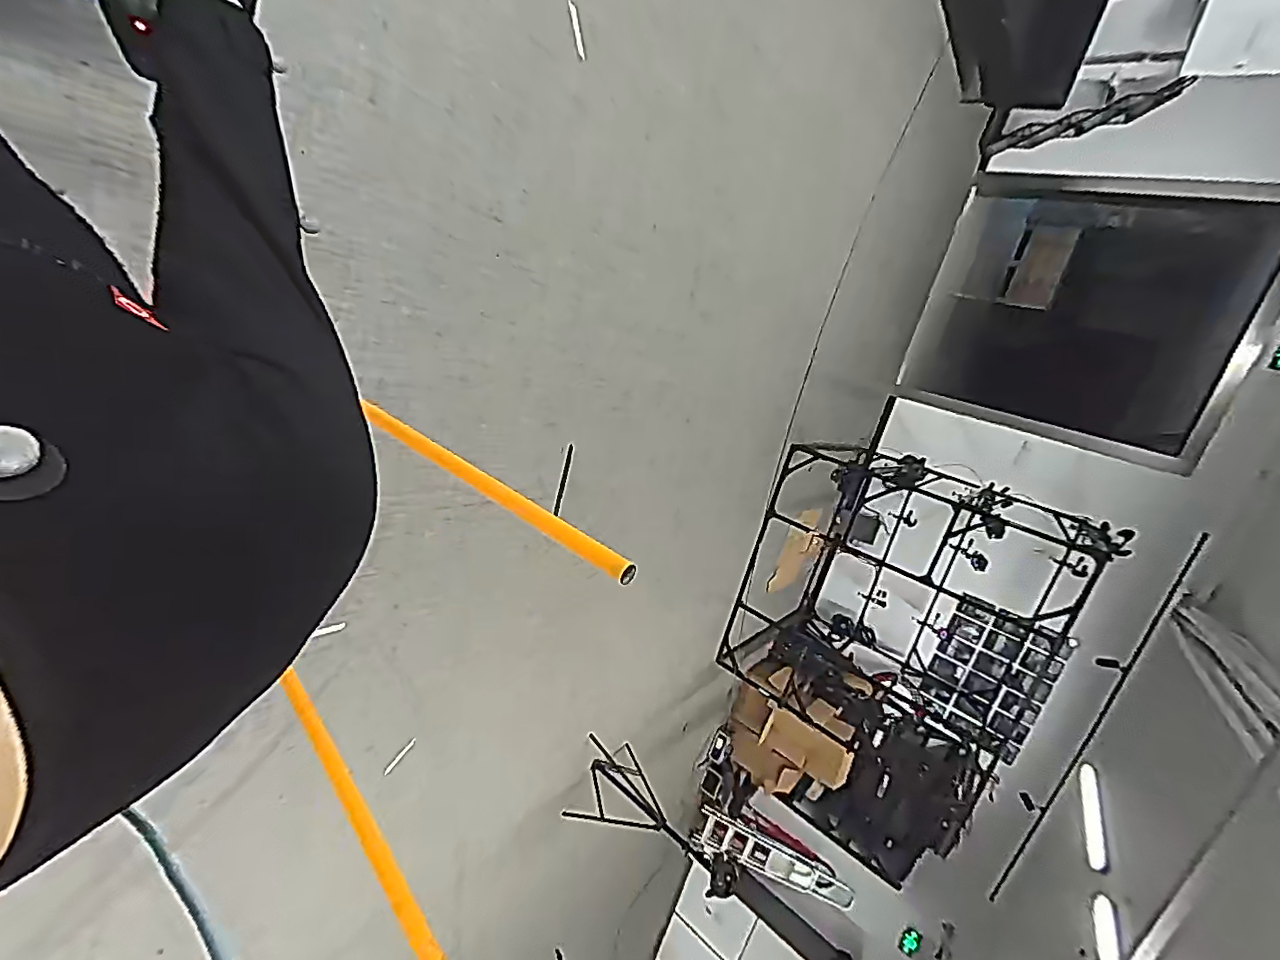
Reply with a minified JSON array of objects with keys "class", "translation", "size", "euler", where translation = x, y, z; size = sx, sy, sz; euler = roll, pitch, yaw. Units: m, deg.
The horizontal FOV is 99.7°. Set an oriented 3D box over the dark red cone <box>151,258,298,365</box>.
[{"class":"dark red cone","translation":[-0.789,-0.298,1.074],"size":[0.201,0.394,0.202],"euler":[-6,116,-56]}]
